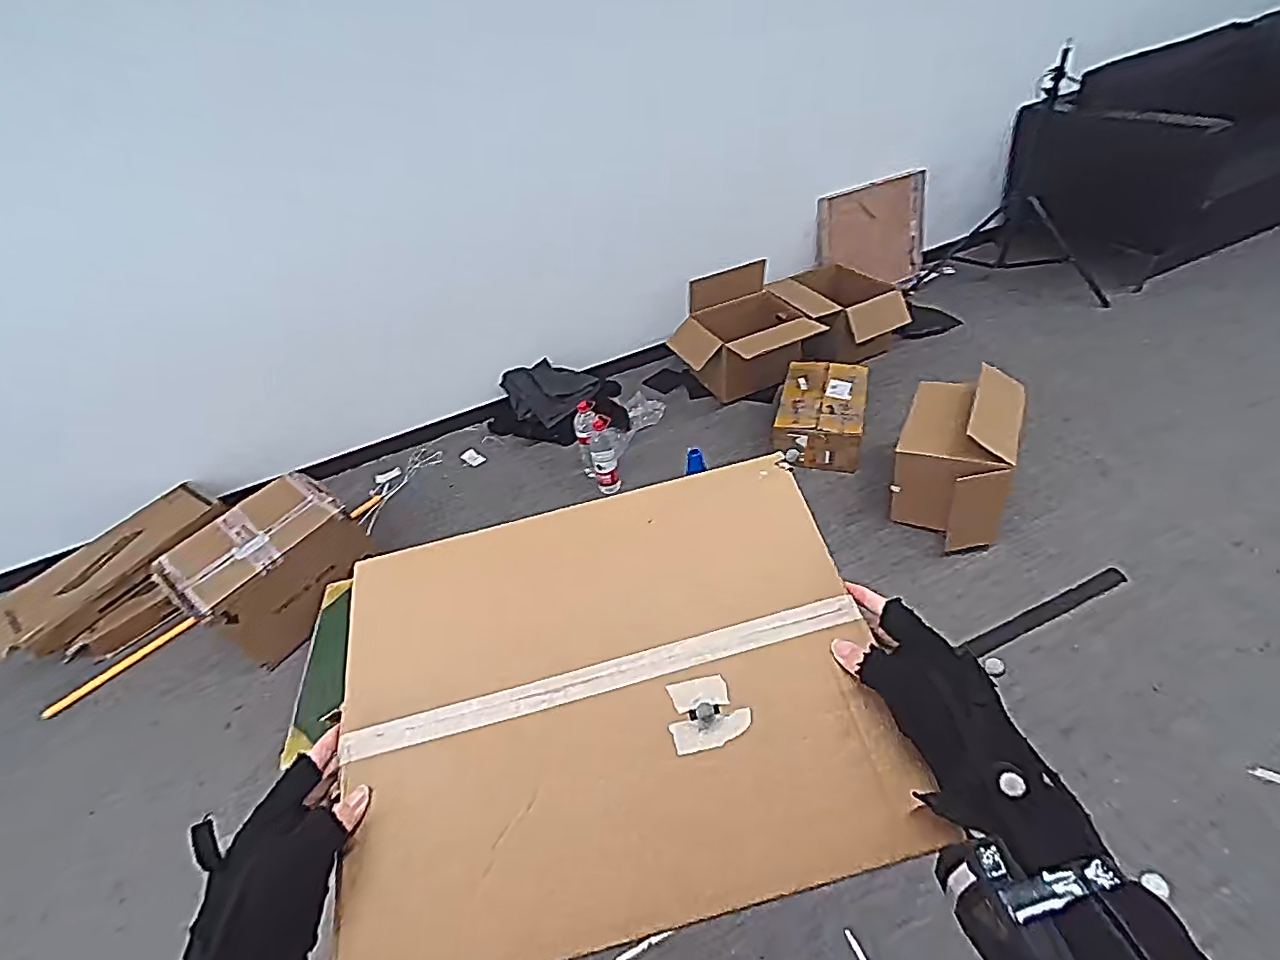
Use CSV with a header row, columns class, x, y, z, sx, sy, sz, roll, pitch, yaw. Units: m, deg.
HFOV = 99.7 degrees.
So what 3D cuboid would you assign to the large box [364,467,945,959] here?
class,x,y,z,sx,sy,sz,roll,pitch,yaw
large box,-0.005,0.240,0.556,0.408,0.320,0.320,-14,57,-2
